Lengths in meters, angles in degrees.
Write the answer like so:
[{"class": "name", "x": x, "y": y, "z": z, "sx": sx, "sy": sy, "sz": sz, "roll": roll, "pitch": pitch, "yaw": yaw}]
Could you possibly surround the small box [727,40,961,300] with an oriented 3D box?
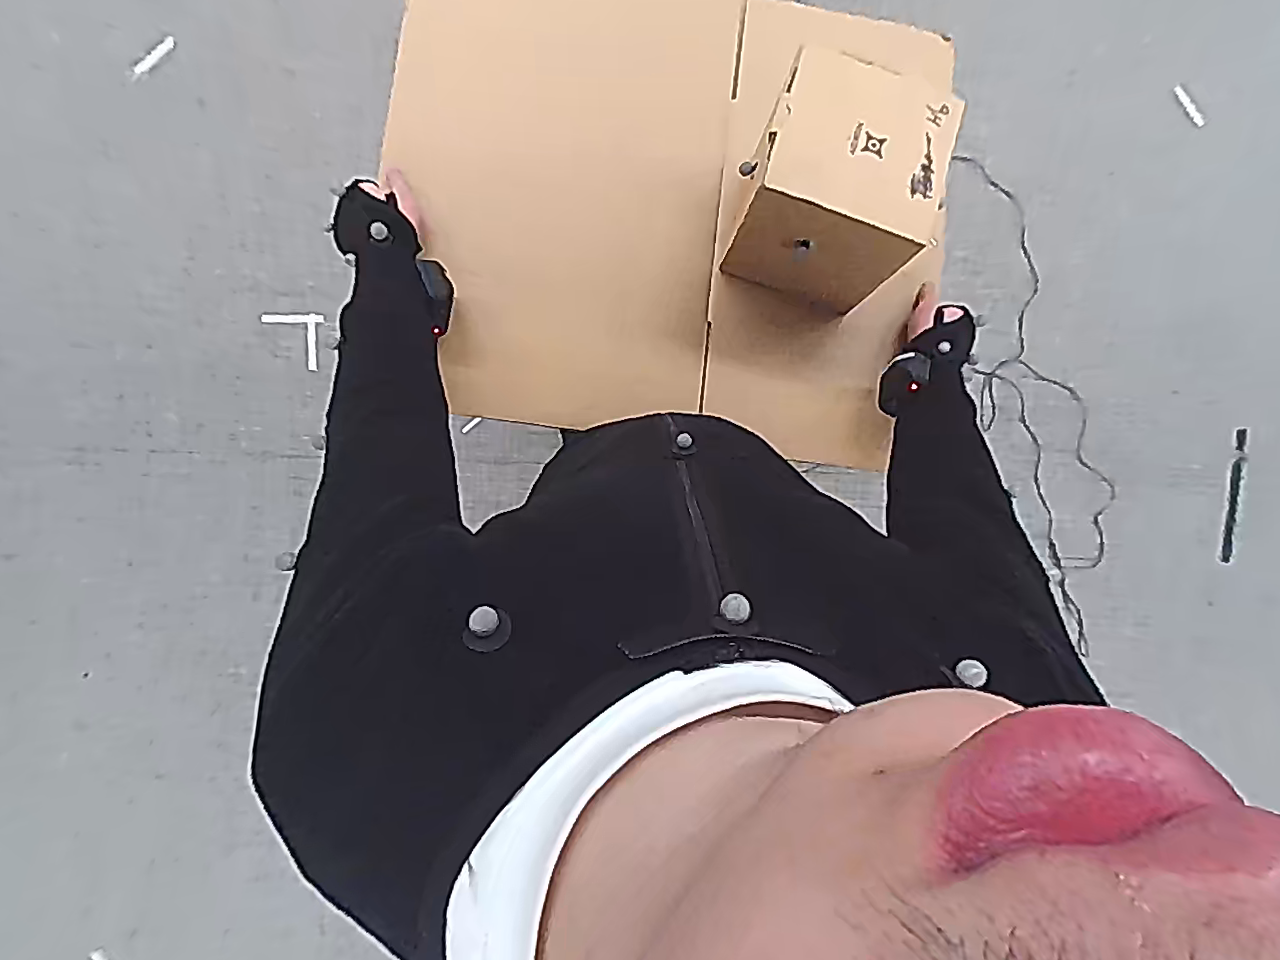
[{"class": "small box", "x": 0.213, "y": -0.329, "z": 0.612, "sx": 0.179, "sy": 0.176, "sz": 0.168, "roll": 18, "pitch": 84, "yaw": -3}]
